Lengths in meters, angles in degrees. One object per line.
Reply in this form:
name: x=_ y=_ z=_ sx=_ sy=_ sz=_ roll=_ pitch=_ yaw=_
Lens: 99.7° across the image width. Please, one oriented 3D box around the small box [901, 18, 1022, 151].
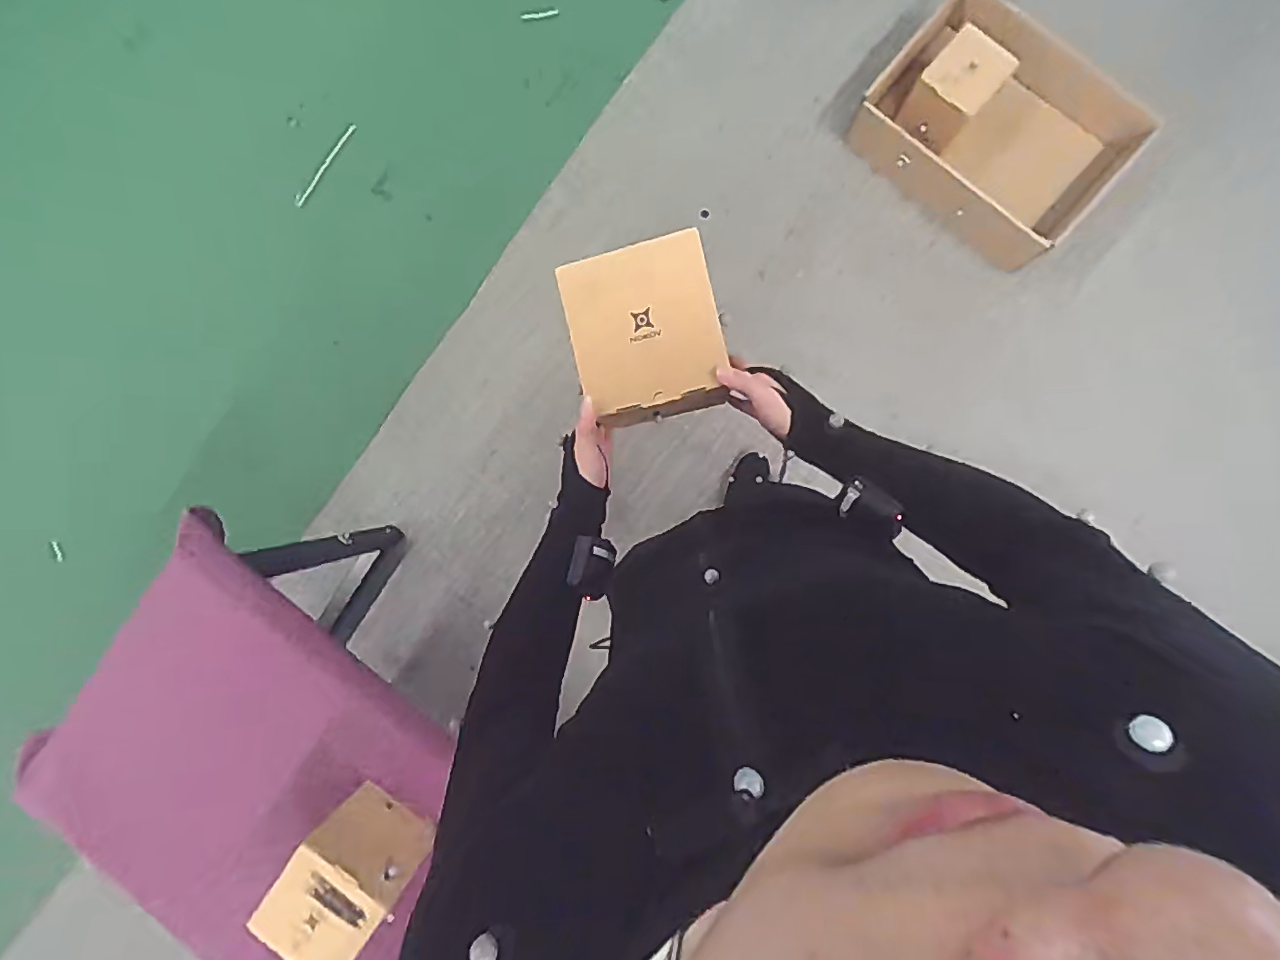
small box: x=0.815 y=-1.008 z=1.393 sx=0.168 sy=0.176 sz=0.179 roll=42 pitch=94 yaw=4
